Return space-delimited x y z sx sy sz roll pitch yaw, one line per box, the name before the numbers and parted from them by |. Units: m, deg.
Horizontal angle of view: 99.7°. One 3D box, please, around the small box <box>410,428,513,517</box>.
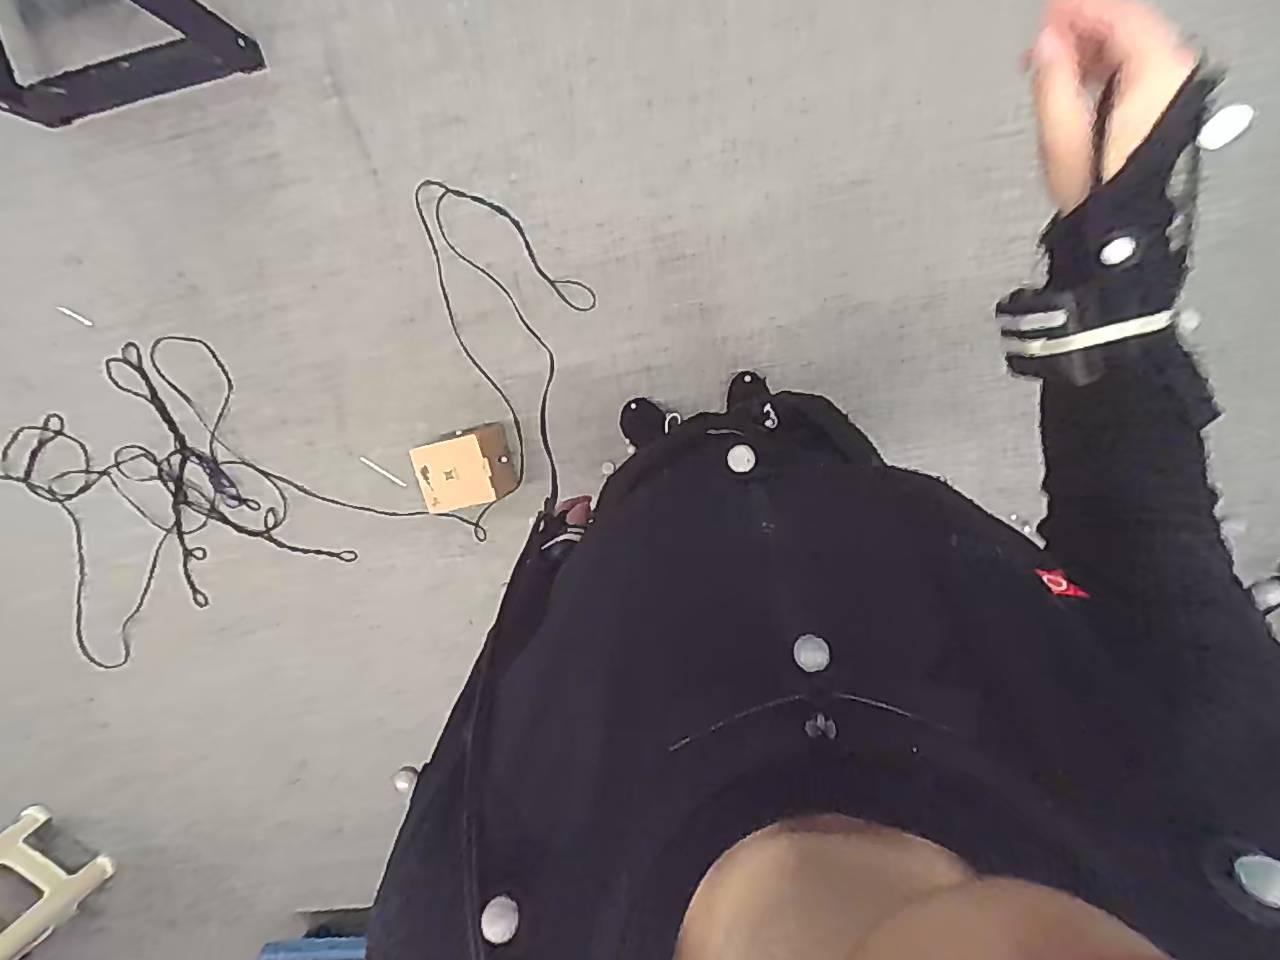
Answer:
small box | -0.426 -0.026 1.330 0.179 0.176 0.168 -12 102 8
